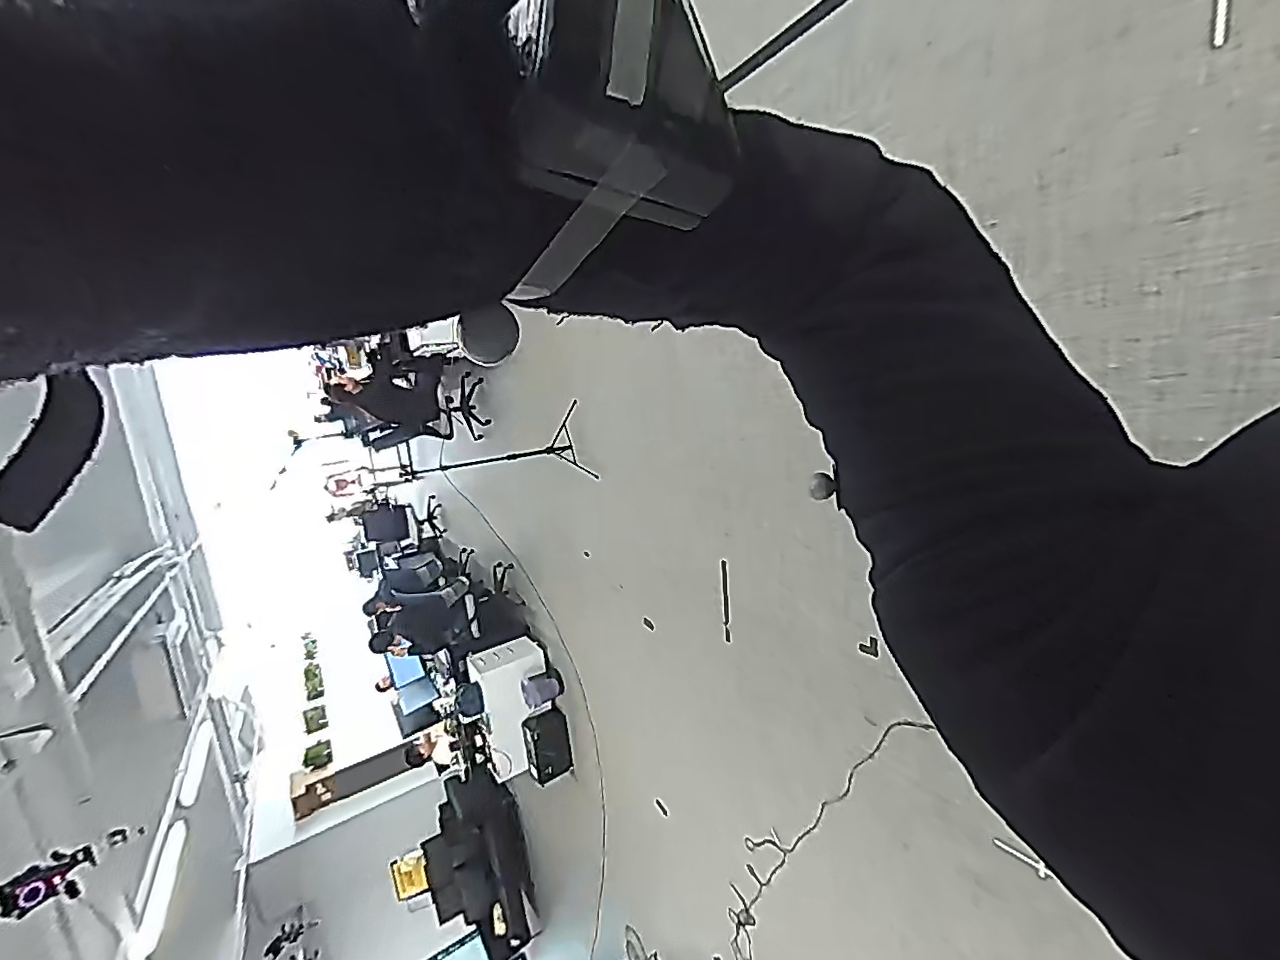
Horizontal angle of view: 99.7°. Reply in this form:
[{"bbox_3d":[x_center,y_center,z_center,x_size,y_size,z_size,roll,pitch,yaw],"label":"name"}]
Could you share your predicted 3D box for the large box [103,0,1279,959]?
[{"bbox_3d":[0.118,0.057,0.155,0.408,0.320,0.320,14,-115,53],"label":"large box"}]
